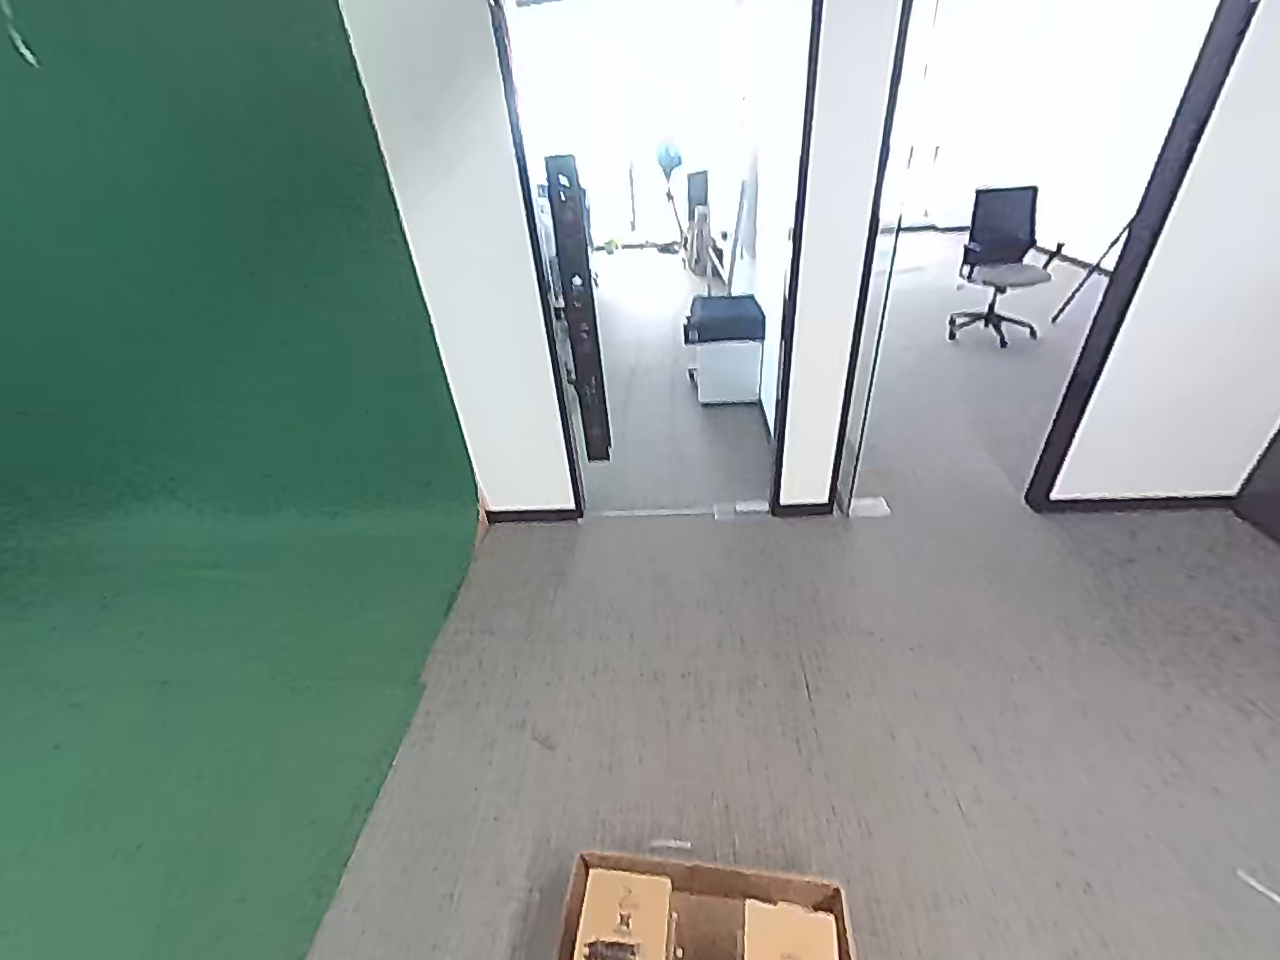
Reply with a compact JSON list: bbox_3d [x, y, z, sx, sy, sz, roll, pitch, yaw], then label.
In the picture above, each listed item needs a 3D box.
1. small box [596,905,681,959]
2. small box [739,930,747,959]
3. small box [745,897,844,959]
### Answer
[{"bbox_3d":[-0.004,1.037,1.128,0.168,0.176,0.179,1,32,9],"label":"small box"},{"bbox_3d":[0.281,1.046,1.075,0.168,0.176,0.179,1,34,10],"label":"small box"},{"bbox_3d":[0.277,0.910,0.983,0.168,0.176,0.179,2,33,11],"label":"small box"}]
